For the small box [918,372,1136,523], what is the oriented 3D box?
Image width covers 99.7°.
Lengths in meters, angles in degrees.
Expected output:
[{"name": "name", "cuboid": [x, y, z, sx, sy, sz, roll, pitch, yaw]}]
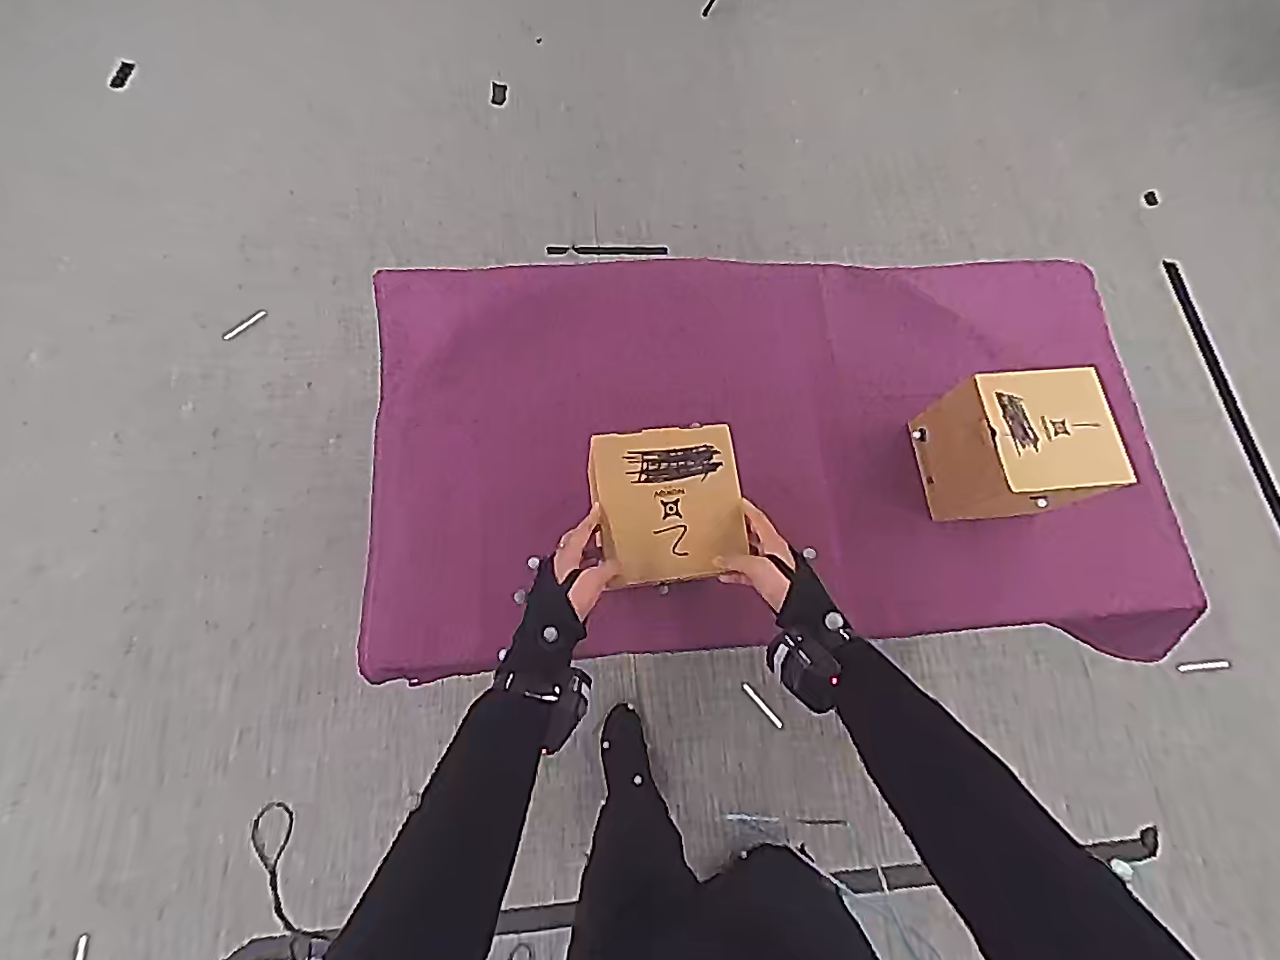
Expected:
[{"name": "small box", "cuboid": [0.526, -0.038, 0.771, 0.179, 0.176, 0.168, -4, 73, -5]}]
